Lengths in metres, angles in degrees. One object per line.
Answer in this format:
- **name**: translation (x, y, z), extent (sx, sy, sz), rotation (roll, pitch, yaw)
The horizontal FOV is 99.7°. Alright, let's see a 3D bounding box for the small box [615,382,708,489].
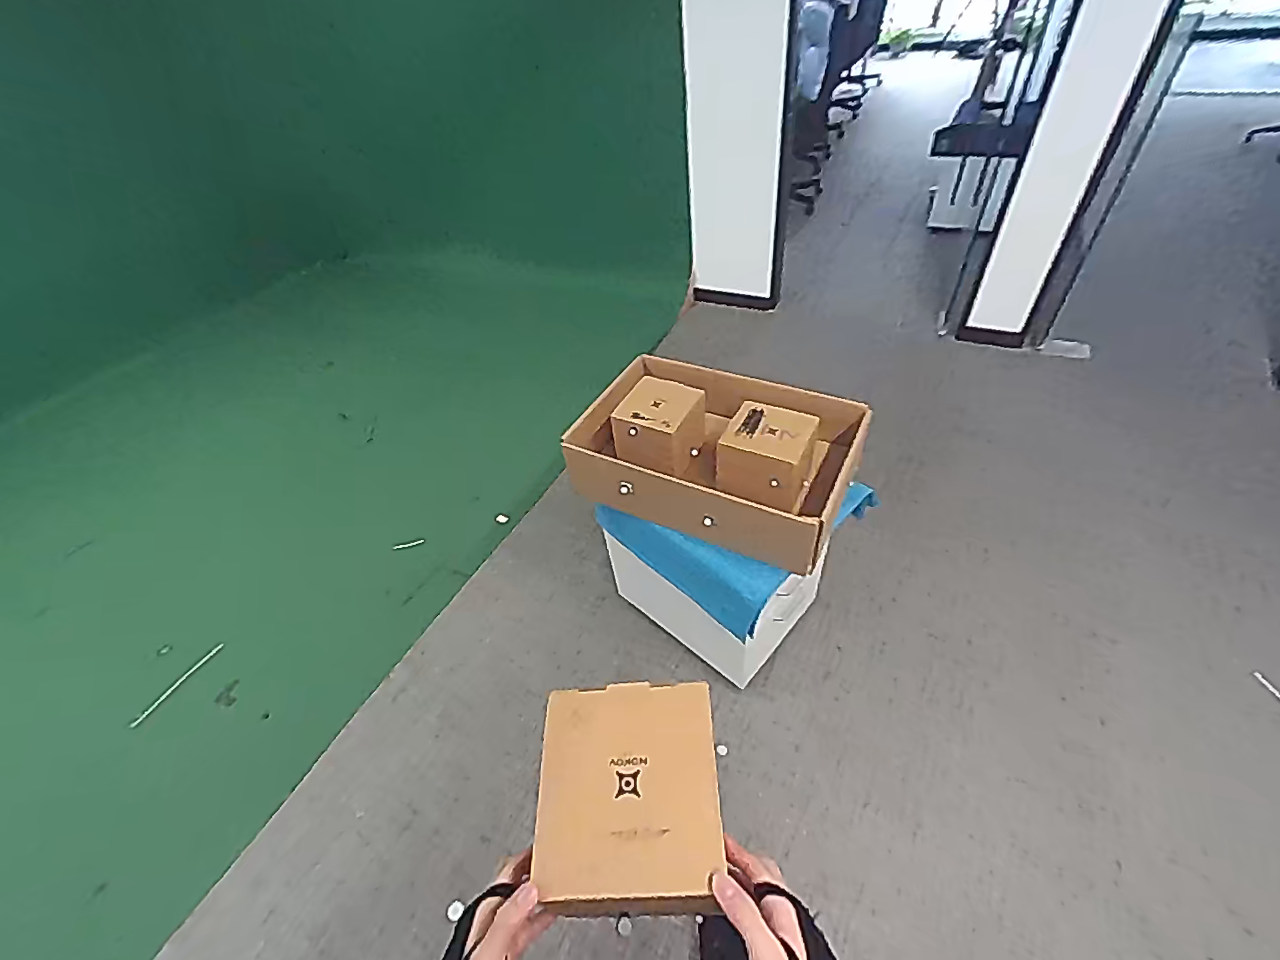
- **small box**: translation (0.057, -0.110, 1.325), extent (0.168, 0.176, 0.179), rotation (18, 49, 25)

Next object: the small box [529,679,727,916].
- **small box**: translation (-0.004, 0.325, 0.554), extent (0.168, 0.176, 0.179), rotation (-4, 46, 4)
